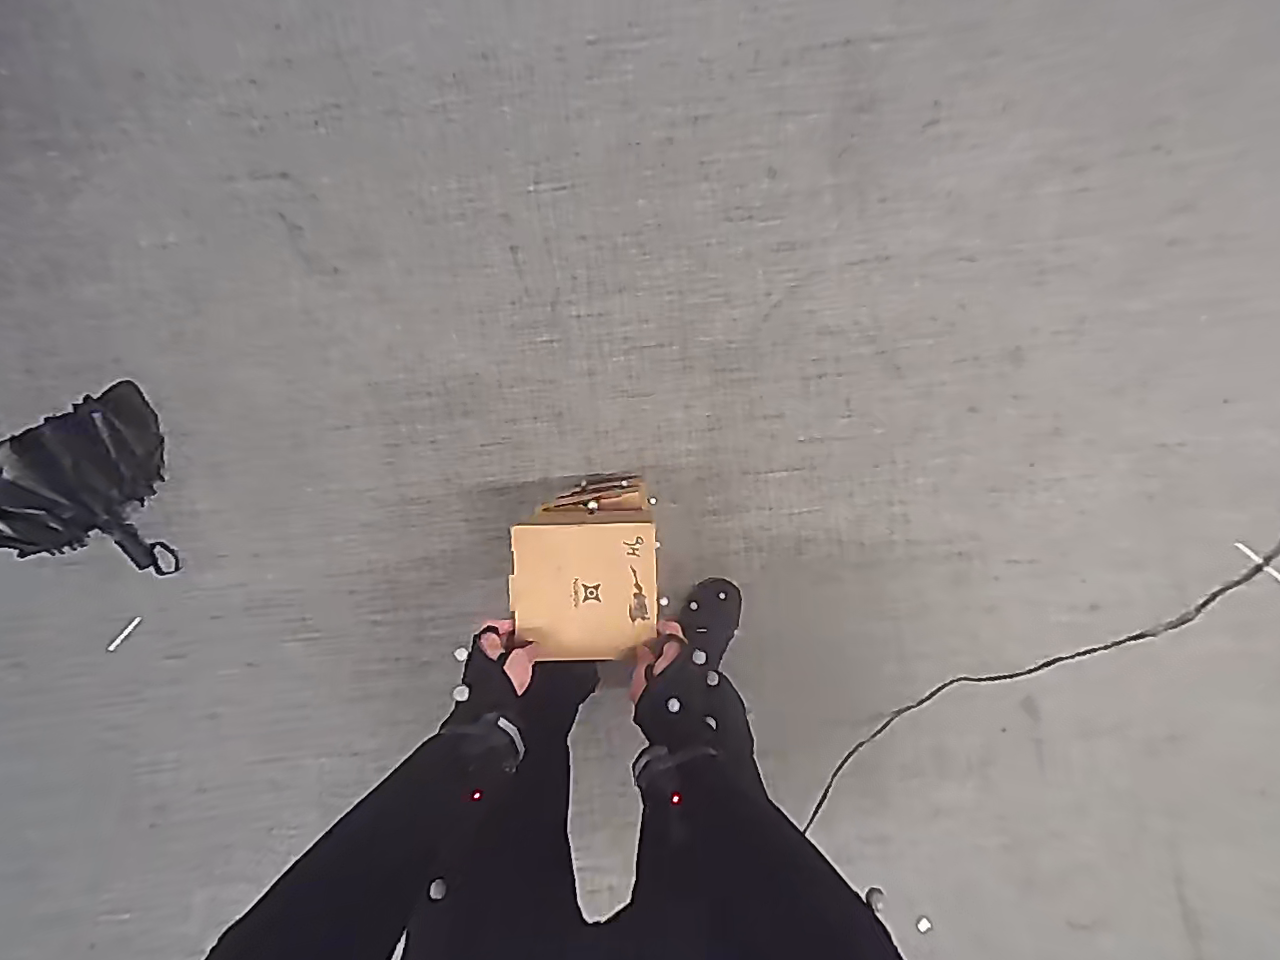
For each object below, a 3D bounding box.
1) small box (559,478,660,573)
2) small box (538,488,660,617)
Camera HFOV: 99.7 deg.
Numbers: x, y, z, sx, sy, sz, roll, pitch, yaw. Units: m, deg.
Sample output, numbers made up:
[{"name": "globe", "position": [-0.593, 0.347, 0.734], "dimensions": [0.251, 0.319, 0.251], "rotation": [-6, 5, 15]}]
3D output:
[{"name": "small box", "position": [-0.055, 0.094, 1.070], "dimensions": [0.168, 0.176, 0.179], "rotation": [-9, 94, 3]}, {"name": "small box", "position": [-0.062, 0.110, 0.907], "dimensions": [0.168, 0.176, 0.179], "rotation": [-10, 93, 3]}]
